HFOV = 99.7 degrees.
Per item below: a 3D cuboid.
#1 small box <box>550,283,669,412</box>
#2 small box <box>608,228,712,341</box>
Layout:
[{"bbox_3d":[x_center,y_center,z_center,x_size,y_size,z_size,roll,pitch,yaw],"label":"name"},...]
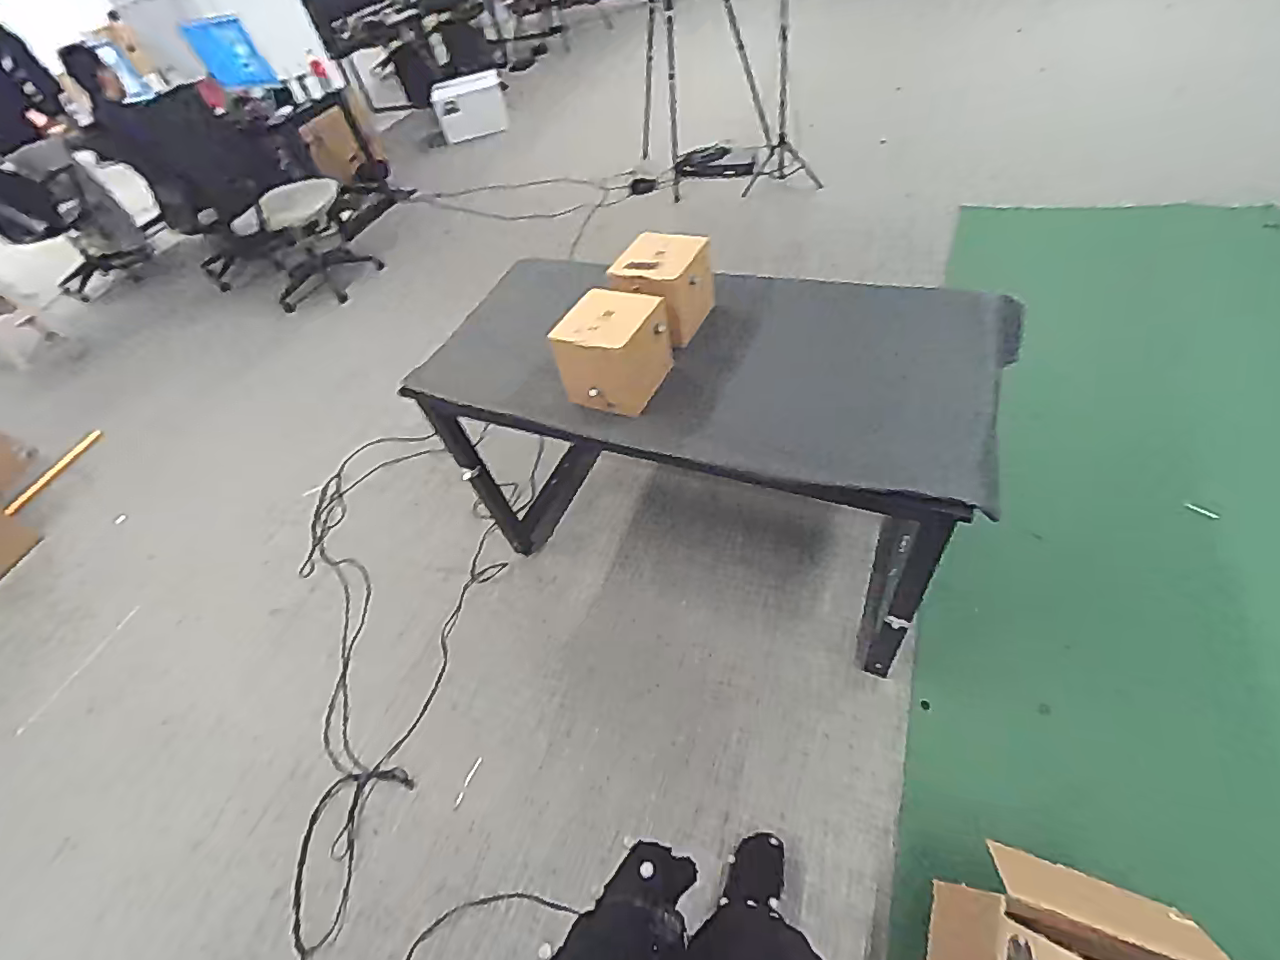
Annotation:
[{"bbox_3d":[-0.051,-0.268,1.091,0.168,0.176,0.179,16,56,24],"label":"small box"},{"bbox_3d":[0.054,-0.435,1.207,0.168,0.176,0.179,17,57,24],"label":"small box"}]
